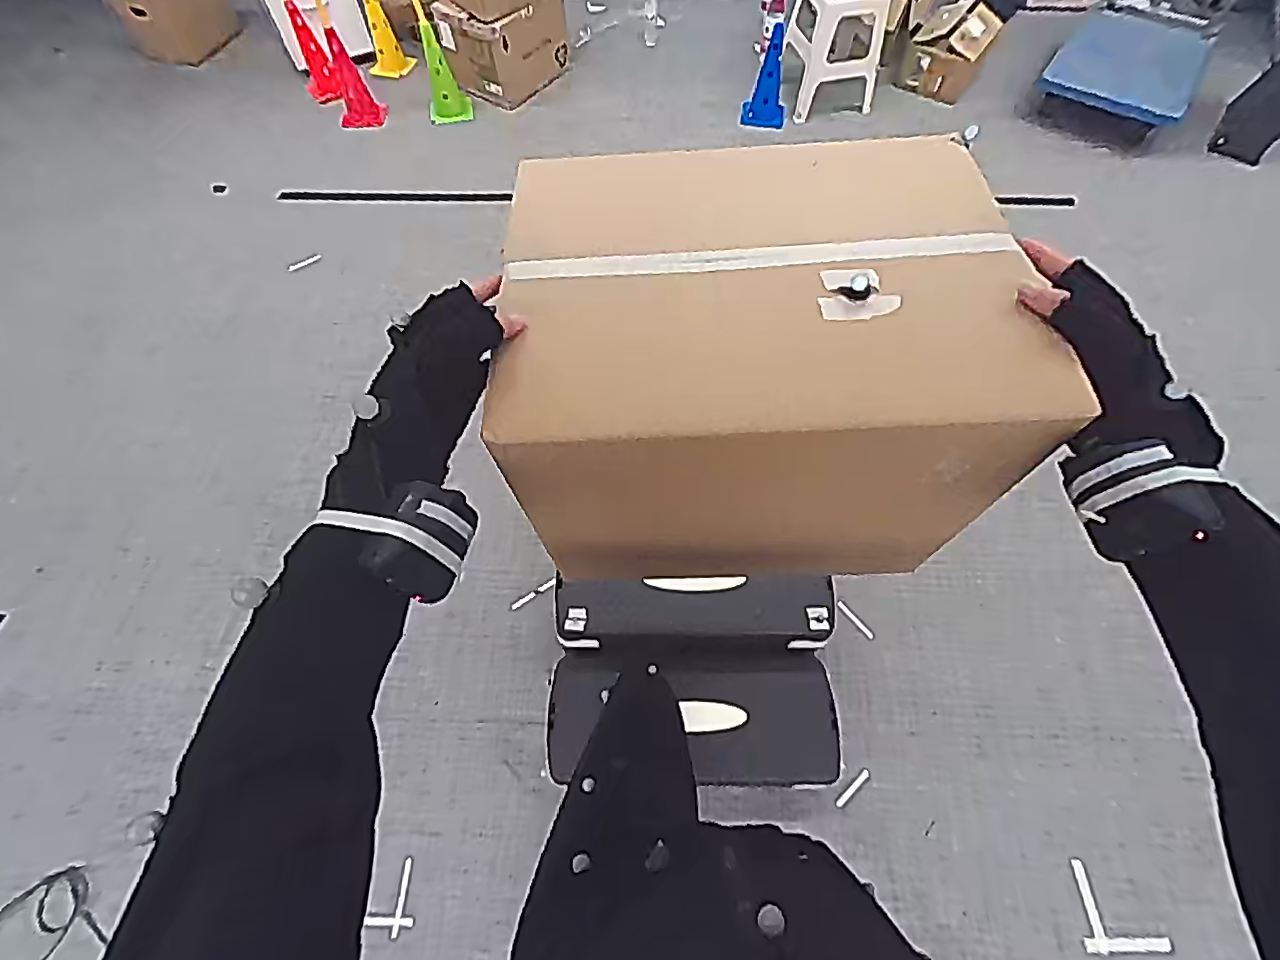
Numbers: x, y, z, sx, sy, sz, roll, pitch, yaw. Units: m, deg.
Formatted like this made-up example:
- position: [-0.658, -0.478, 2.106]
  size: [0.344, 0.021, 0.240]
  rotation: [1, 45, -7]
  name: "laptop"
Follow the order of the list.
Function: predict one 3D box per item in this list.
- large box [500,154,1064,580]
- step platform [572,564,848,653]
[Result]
- position: [0.097, -0.096, 0.577]
  size: [0.408, 0.320, 0.320]
  rotation: [-3, 62, 2]
  name: "large box"
- position: [0.168, 0.275, 1.388]
  size: [0.684, 0.204, 0.286]
  rotation: [-1, 61, 0]
  name: "step platform"
